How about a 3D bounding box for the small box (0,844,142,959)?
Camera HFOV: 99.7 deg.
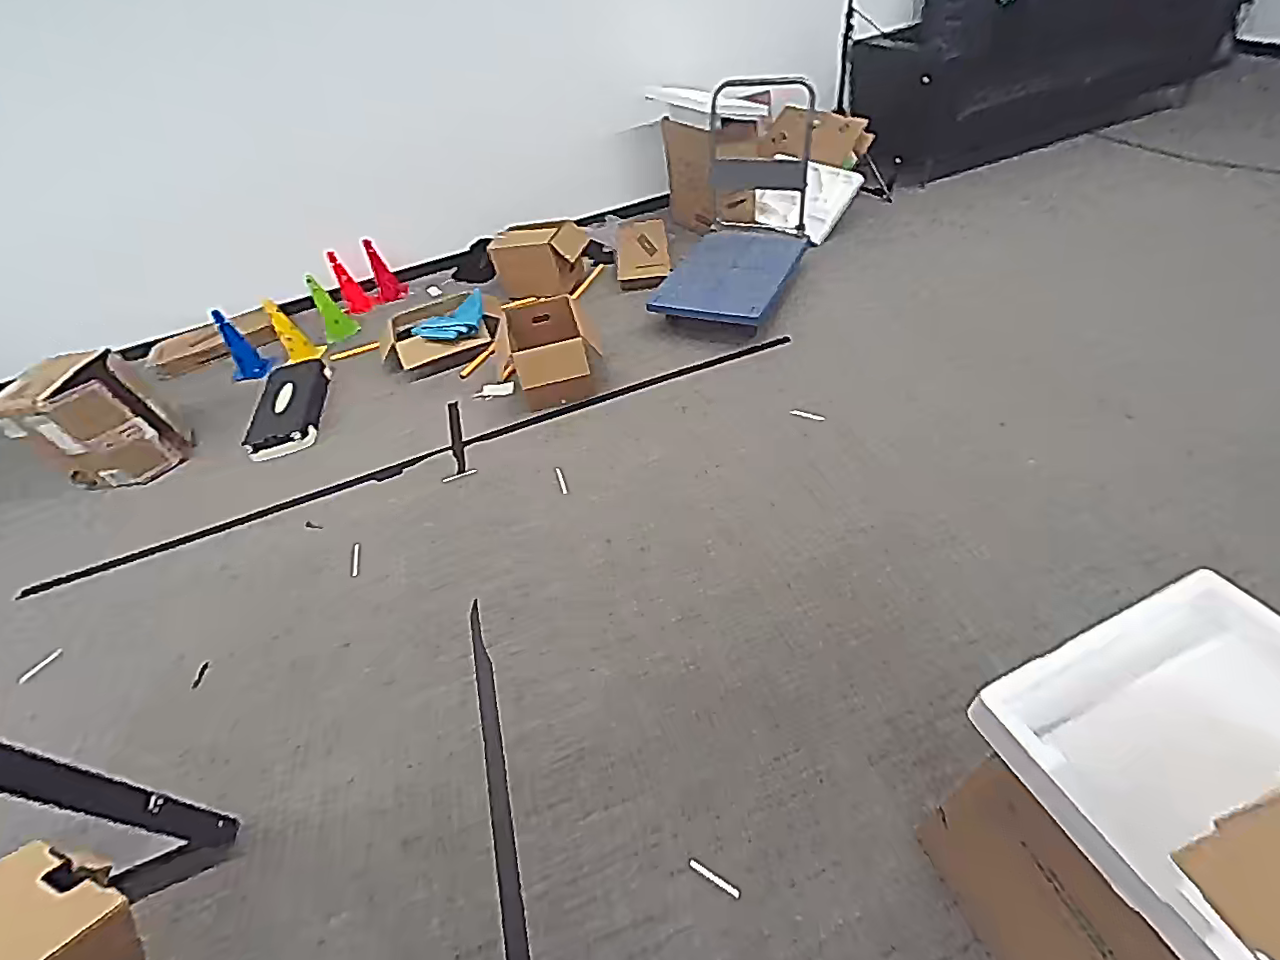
[{"bbox_3d":[-0.536,0.454,0.434,0.168,0.176,0.179,4,14,23],"label":"small box"}]
